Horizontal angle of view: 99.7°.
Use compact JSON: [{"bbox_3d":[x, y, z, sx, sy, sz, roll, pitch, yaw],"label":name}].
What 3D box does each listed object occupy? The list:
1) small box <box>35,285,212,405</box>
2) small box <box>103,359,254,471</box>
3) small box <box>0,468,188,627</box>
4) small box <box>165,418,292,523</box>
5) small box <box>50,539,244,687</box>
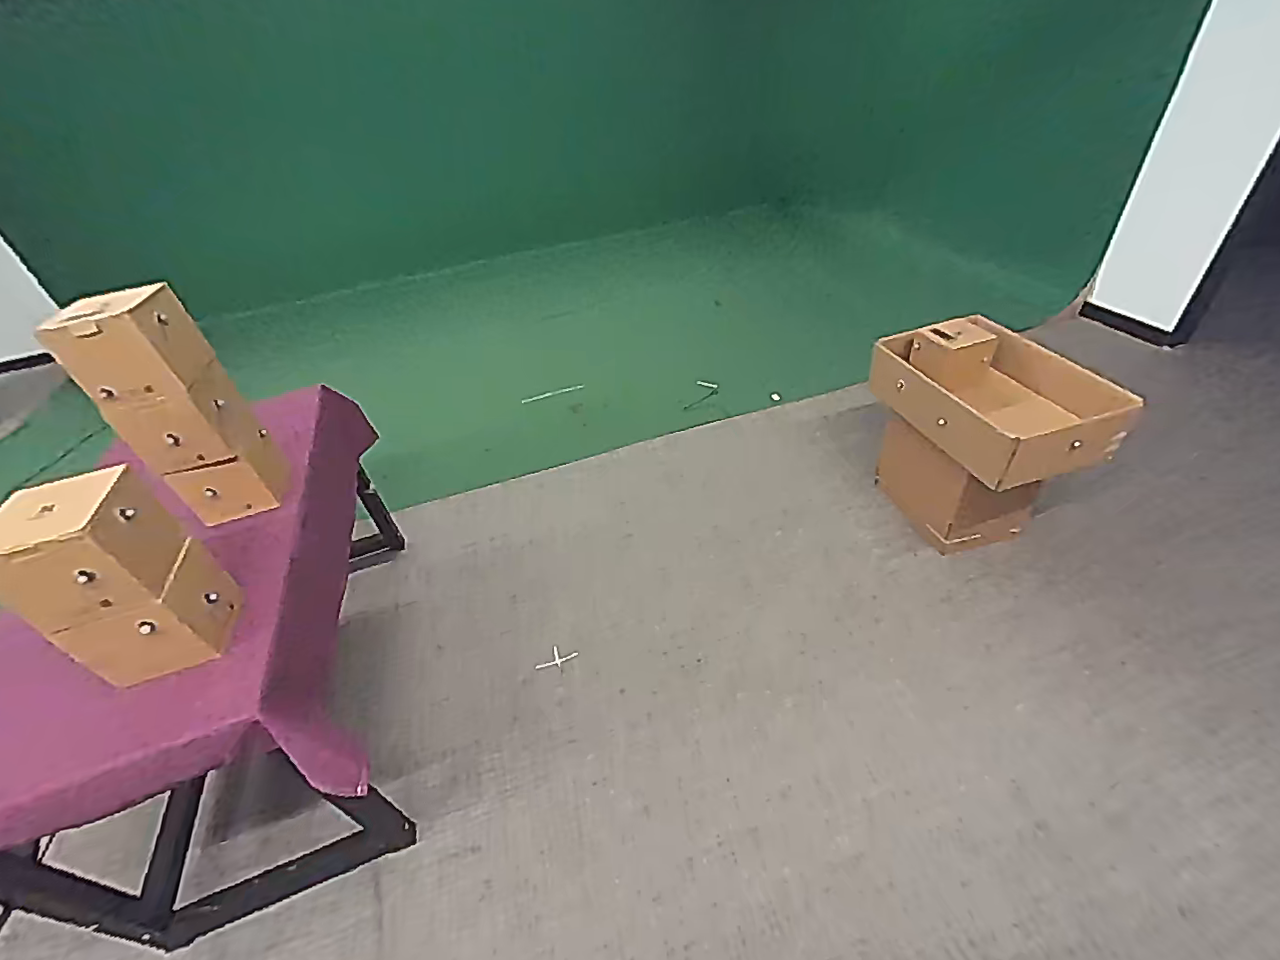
[{"bbox_3d":[-1.019,-0.266,1.091,0.168,0.176,0.179,-16,39,-6],"label":"small box"},{"bbox_3d":[-0.996,-0.137,1.190,0.168,0.176,0.179,-15,41,-7],"label":"small box"},{"bbox_3d":[-0.891,0.115,0.877,0.168,0.176,0.179,-17,40,-10],"label":"small box"},{"bbox_3d":[-0.976,-0.018,1.302,0.168,0.176,0.179,-18,41,-9],"label":"small box"},{"bbox_3d":[-0.867,0.240,0.979,0.179,0.176,0.168,-17,40,-8],"label":"small box"}]
